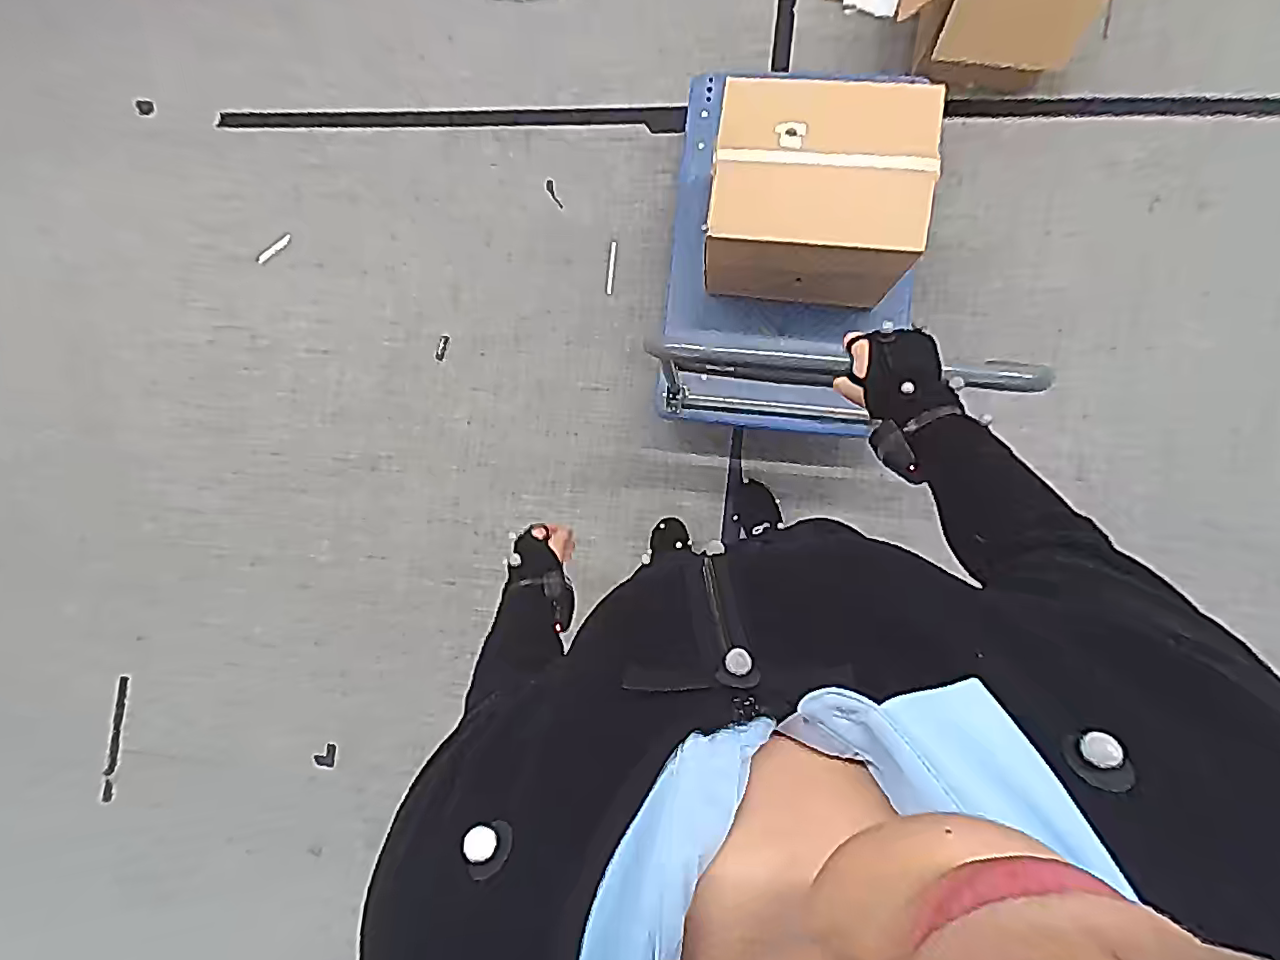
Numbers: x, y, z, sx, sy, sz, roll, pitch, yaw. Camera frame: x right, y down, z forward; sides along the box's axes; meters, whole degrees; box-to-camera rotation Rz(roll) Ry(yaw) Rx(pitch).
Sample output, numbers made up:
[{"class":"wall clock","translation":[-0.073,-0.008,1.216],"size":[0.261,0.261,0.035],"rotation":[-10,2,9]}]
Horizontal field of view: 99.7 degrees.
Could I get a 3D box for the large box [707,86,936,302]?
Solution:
[{"class":"large box","translation":[0.365,-0.597,1.179],"size":[0.408,0.320,0.320],"rotation":[7,89,8]}]
